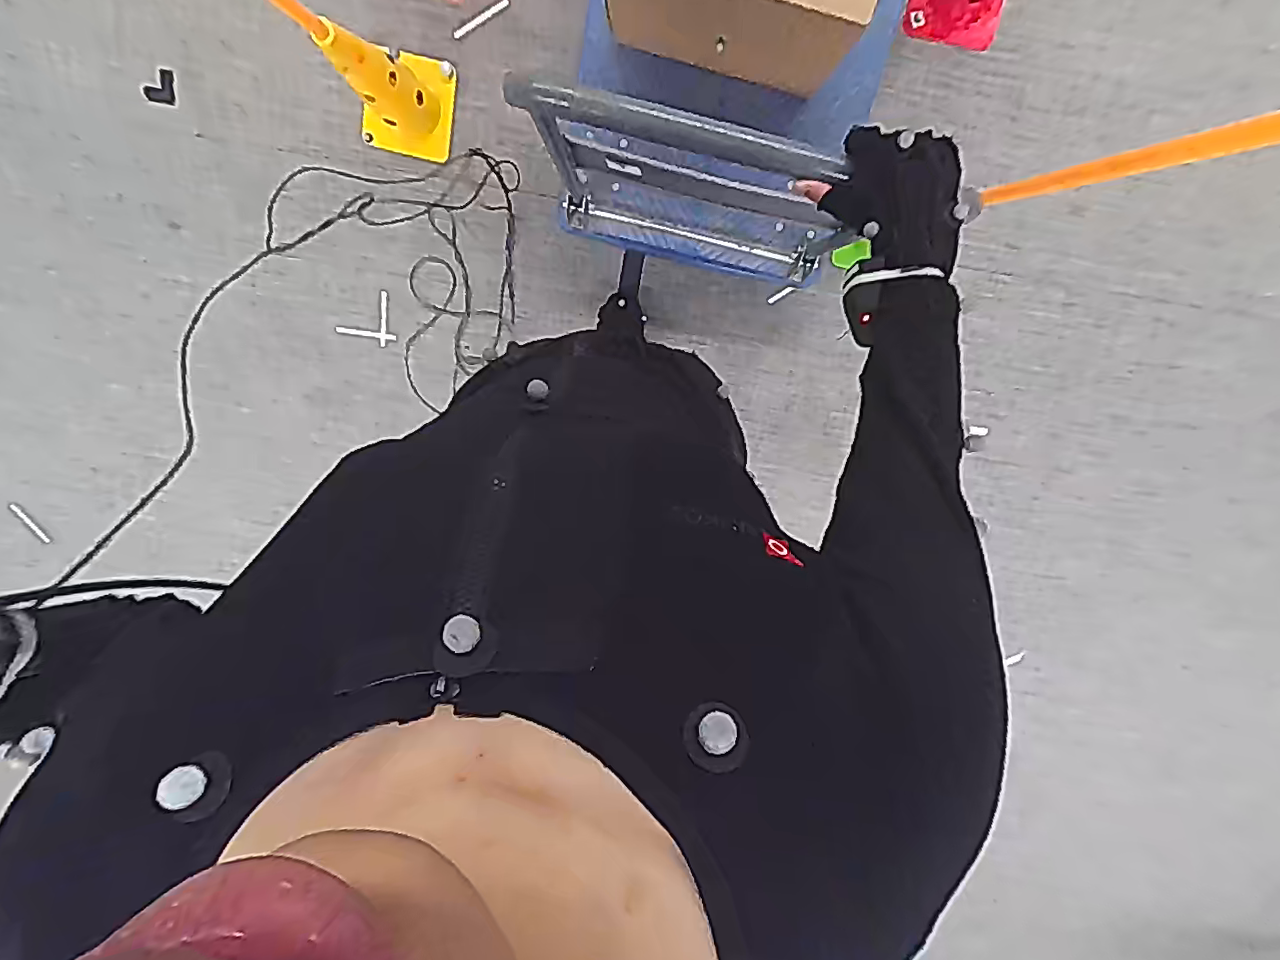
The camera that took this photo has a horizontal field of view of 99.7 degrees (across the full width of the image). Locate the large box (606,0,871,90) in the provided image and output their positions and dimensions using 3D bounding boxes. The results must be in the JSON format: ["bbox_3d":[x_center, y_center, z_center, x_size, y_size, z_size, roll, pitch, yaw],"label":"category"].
[{"bbox_3d":[0.171,-0.892,0.865,0.408,0.320,0.320,14,109,-3],"label":"large box"}]

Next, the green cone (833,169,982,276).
[{"bbox_3d":[0.577,-0.553,1.120,0.202,0.368,0.200,13,108,-5],"label":"green cone"}]

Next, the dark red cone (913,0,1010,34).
[{"bbox_3d":[0.680,-0.997,0.953,0.201,0.394,0.202,9,109,-4],"label":"dark red cone"}]
